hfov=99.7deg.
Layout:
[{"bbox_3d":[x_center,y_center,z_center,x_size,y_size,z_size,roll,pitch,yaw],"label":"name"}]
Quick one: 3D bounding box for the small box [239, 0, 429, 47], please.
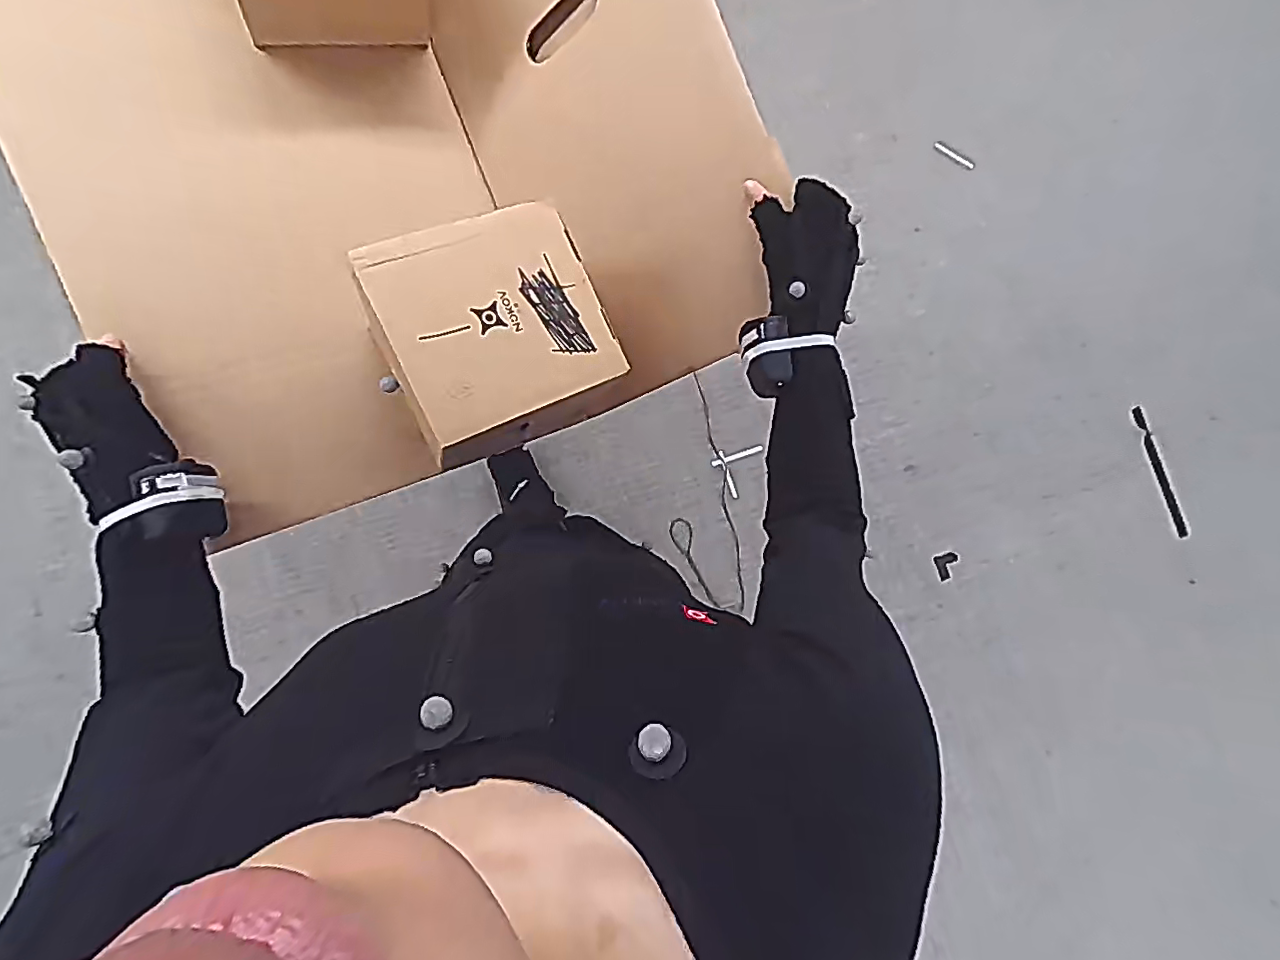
[{"bbox_3d":[-0.307,-0.547,0.501,0.179,0.176,0.168,-18,91,-22],"label":"small box"}]
